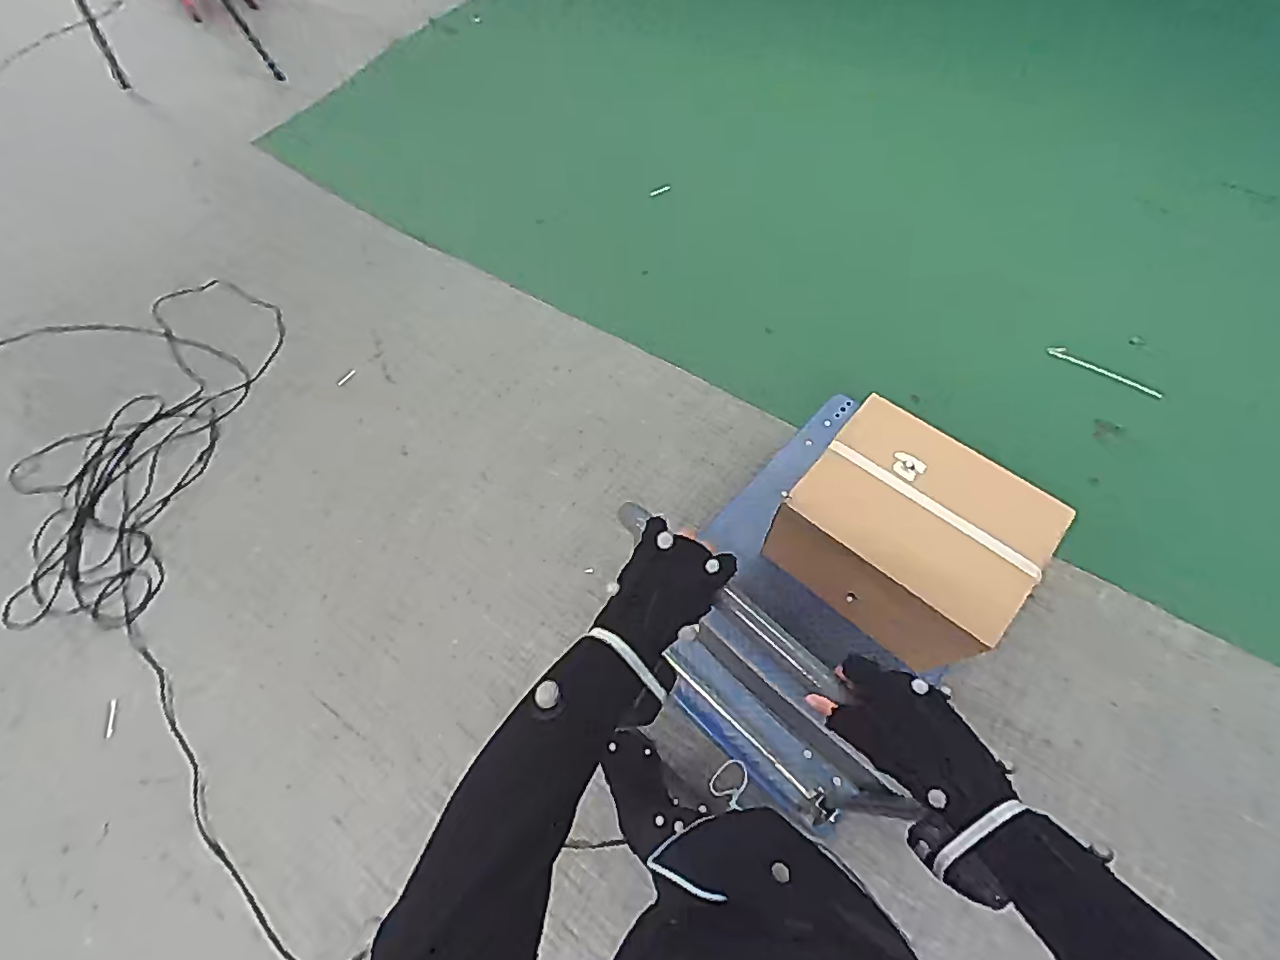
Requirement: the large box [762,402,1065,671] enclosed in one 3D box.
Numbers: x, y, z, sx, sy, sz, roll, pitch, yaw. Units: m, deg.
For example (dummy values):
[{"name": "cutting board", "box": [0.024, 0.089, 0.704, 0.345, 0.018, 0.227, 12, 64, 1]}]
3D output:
[{"name": "large box", "box": [0.513, 0.123, 1.102, 0.408, 0.320, 0.320, 37, 72, 21]}]
